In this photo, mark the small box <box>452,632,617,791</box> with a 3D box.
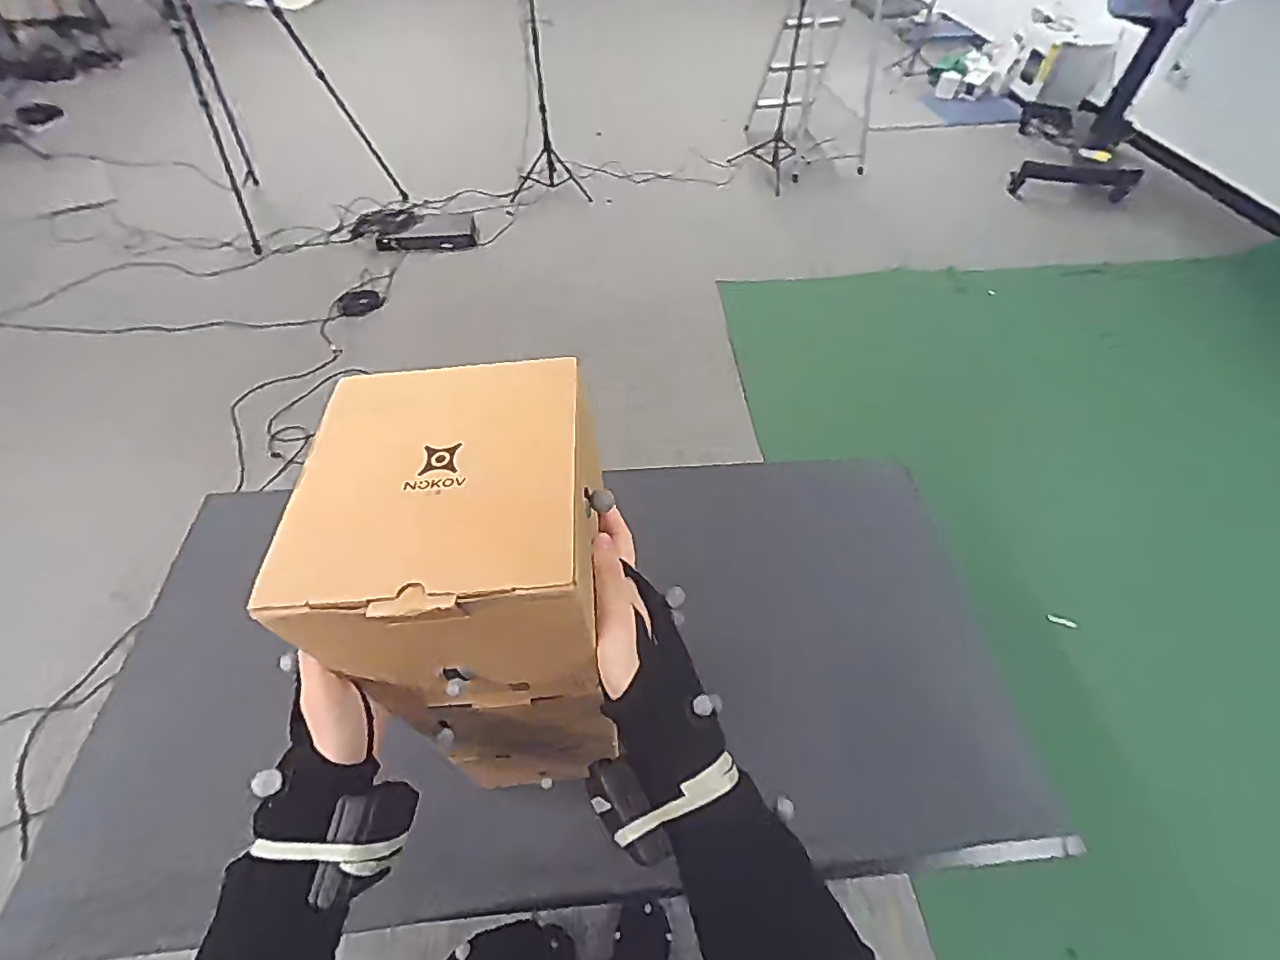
[{"bbox_3d":[-0.116,0.257,0.654,0.168,0.176,0.179,-5,53,-4],"label":"small box"}]

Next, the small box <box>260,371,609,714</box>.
[{"bbox_3d":[-0.112,0.048,0.384,0.168,0.176,0.179,-5,53,0],"label":"small box"}]
